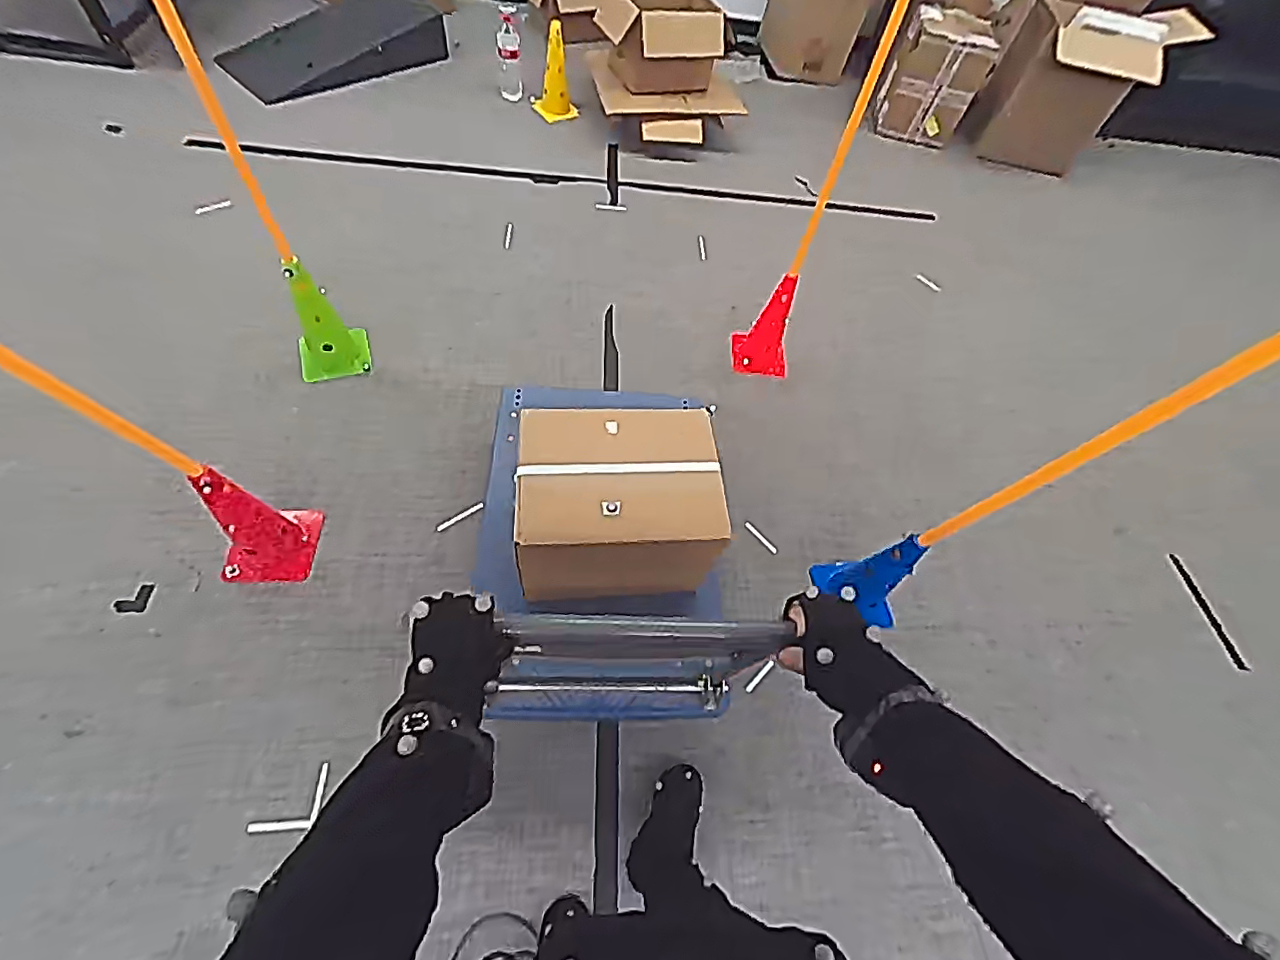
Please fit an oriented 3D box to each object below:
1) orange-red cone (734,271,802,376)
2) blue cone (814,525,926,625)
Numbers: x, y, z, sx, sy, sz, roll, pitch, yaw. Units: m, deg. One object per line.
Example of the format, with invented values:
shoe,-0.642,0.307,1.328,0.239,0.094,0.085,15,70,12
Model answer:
orange-red cone,0.468,-0.553,1.840,0.199,0.360,0.198,8,58,-5
blue cone,0.623,0.228,1.396,0.193,0.380,0.192,-1,58,-10
